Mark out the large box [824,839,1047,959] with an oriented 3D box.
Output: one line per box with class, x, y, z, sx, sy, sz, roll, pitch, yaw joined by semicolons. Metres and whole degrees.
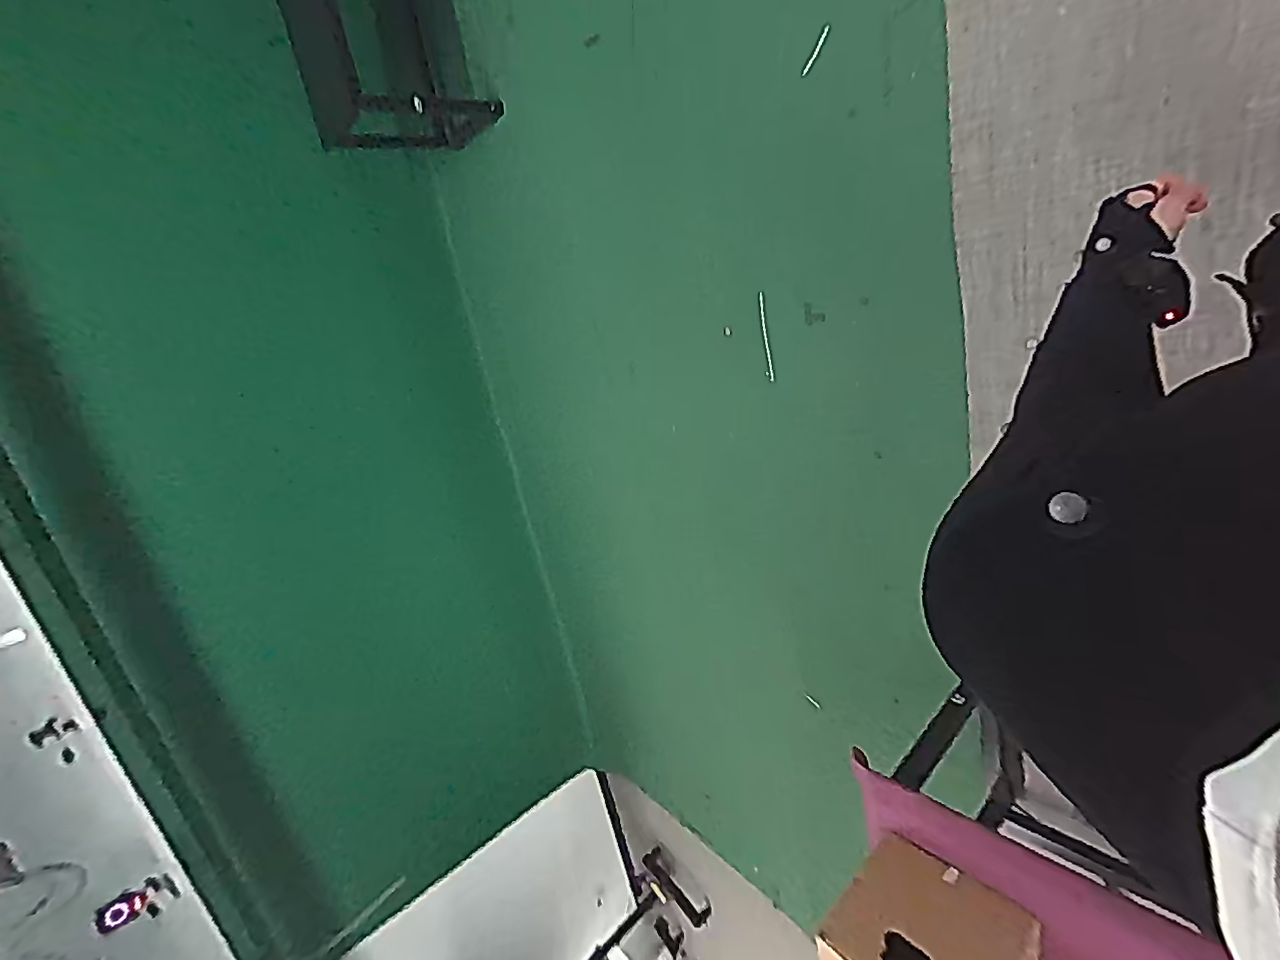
large box;0.628;1.090;1.130;0.320;0.320;0.408;6;113;50
